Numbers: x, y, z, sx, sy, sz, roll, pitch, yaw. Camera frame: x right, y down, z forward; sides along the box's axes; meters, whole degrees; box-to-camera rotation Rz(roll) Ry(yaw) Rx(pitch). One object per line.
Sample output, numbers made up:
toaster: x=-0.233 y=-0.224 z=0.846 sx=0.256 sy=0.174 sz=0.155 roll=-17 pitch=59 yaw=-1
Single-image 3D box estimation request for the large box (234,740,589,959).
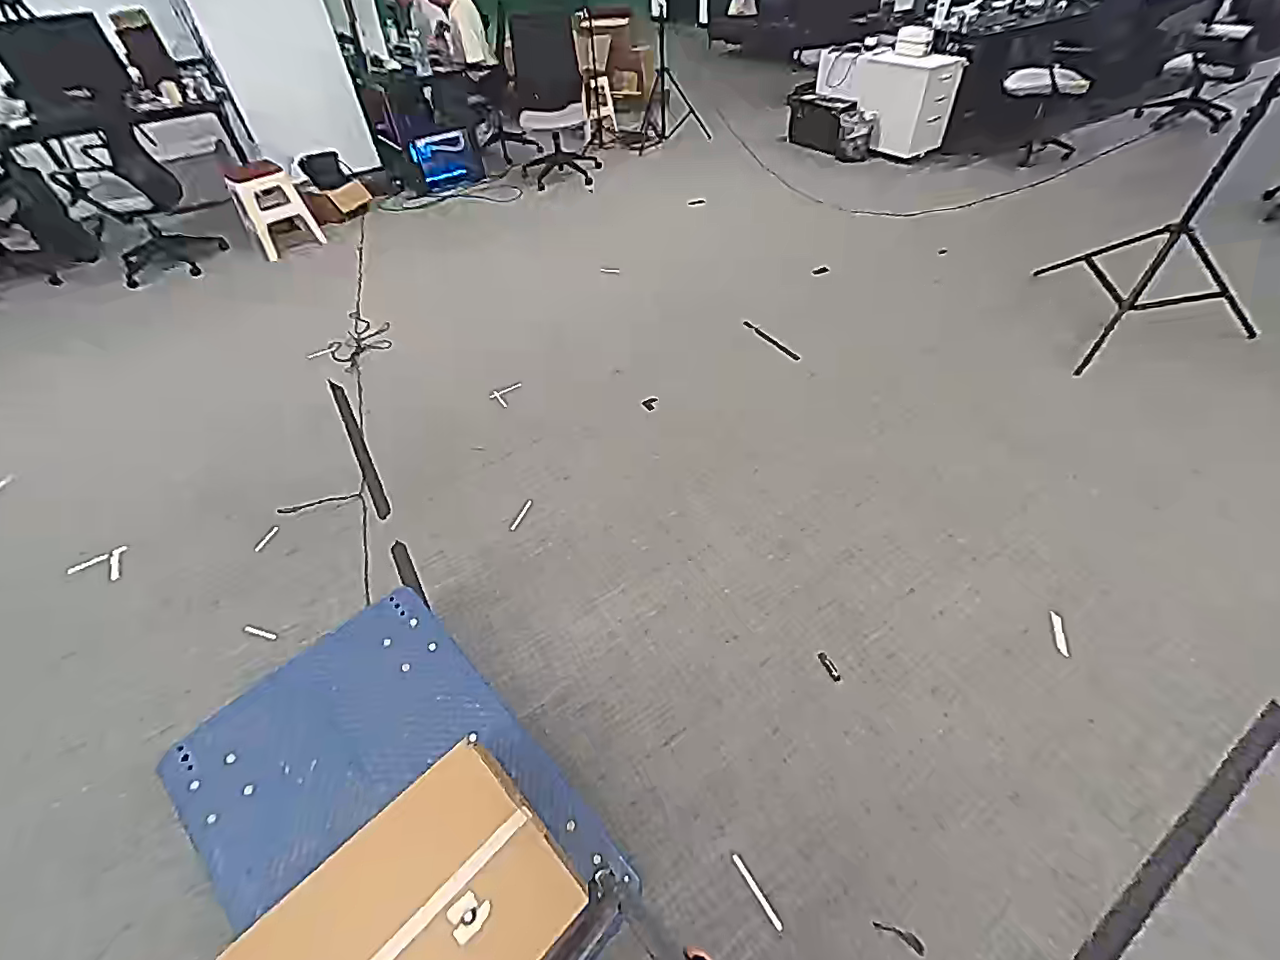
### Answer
large box: x=-0.332 y=0.728 z=0.898 sx=0.408 sy=0.320 sz=0.320 roll=-38 pitch=68 yaw=-27
